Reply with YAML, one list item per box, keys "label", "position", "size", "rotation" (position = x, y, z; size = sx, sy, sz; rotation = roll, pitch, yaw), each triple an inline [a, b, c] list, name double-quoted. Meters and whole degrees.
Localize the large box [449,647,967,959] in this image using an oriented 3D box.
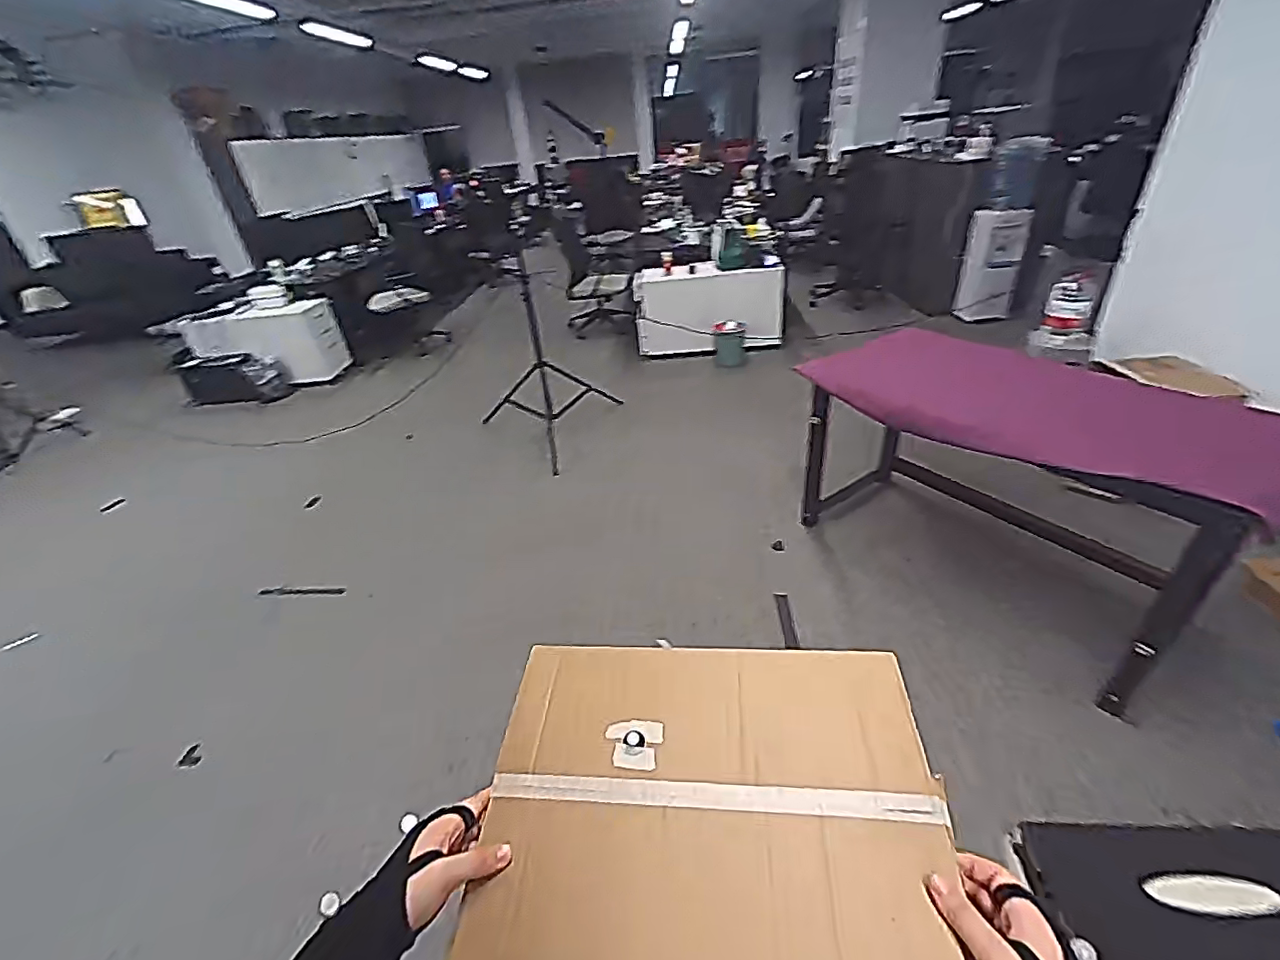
- label: "large box"
  position: [0.074, 0.407, 0.595]
  size: [0.408, 0.320, 0.320]
  rotation: [-4, 39, 10]
